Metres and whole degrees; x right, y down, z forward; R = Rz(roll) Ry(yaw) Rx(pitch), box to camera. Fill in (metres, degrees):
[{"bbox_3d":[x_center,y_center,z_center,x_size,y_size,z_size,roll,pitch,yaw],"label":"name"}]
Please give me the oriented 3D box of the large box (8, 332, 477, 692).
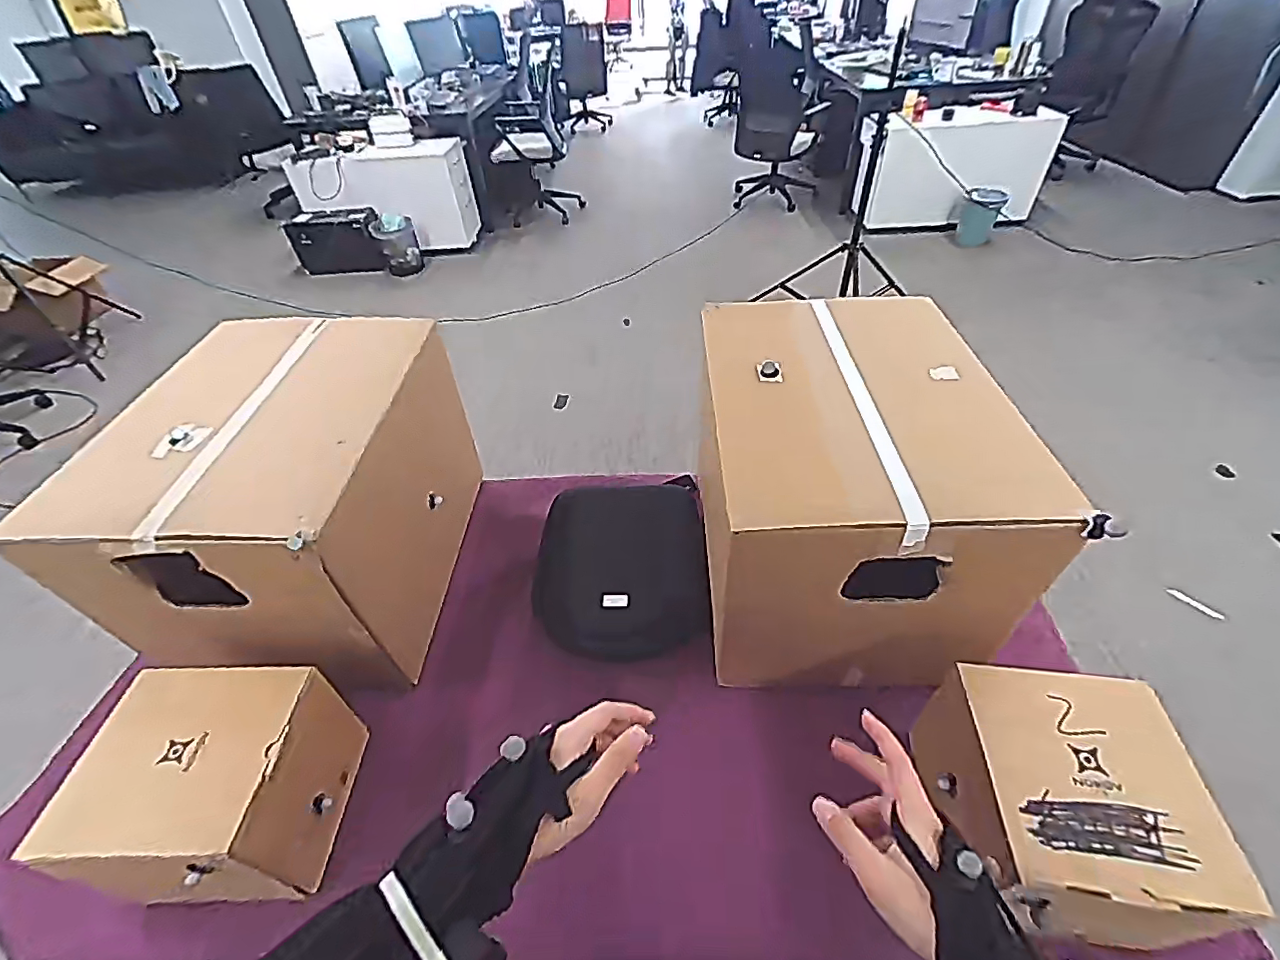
[{"bbox_3d":[-0.444,0.037,0.748,0.320,0.320,0.408,-1,46,1],"label":"large box"}]
